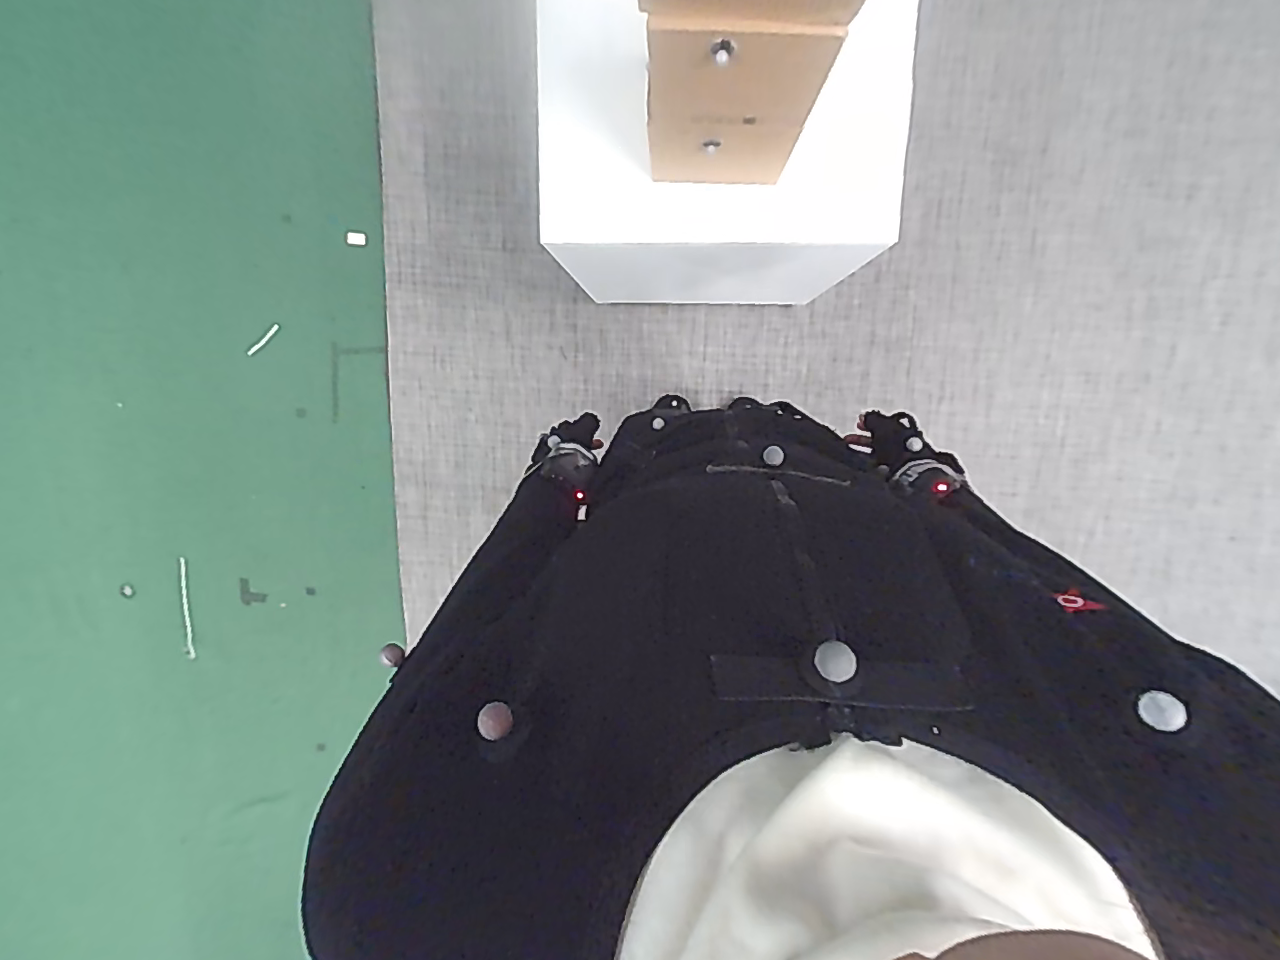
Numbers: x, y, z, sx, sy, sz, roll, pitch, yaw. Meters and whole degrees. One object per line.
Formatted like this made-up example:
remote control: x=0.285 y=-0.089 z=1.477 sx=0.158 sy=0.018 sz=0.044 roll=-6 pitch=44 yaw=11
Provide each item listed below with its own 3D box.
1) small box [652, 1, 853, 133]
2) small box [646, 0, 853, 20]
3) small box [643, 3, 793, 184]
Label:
small box: x=0.097 y=-0.464 z=0.511 sx=0.168 sy=0.176 sz=0.179 roll=2 pitch=100 yaw=2
small box: x=0.084 y=-0.442 z=0.348 sx=0.179 sy=0.176 sz=0.168 roll=5 pitch=101 yaw=2
small box: x=0.100 y=-0.486 z=0.670 sx=0.179 sy=0.176 sz=0.168 roll=4 pitch=99 yaw=3
